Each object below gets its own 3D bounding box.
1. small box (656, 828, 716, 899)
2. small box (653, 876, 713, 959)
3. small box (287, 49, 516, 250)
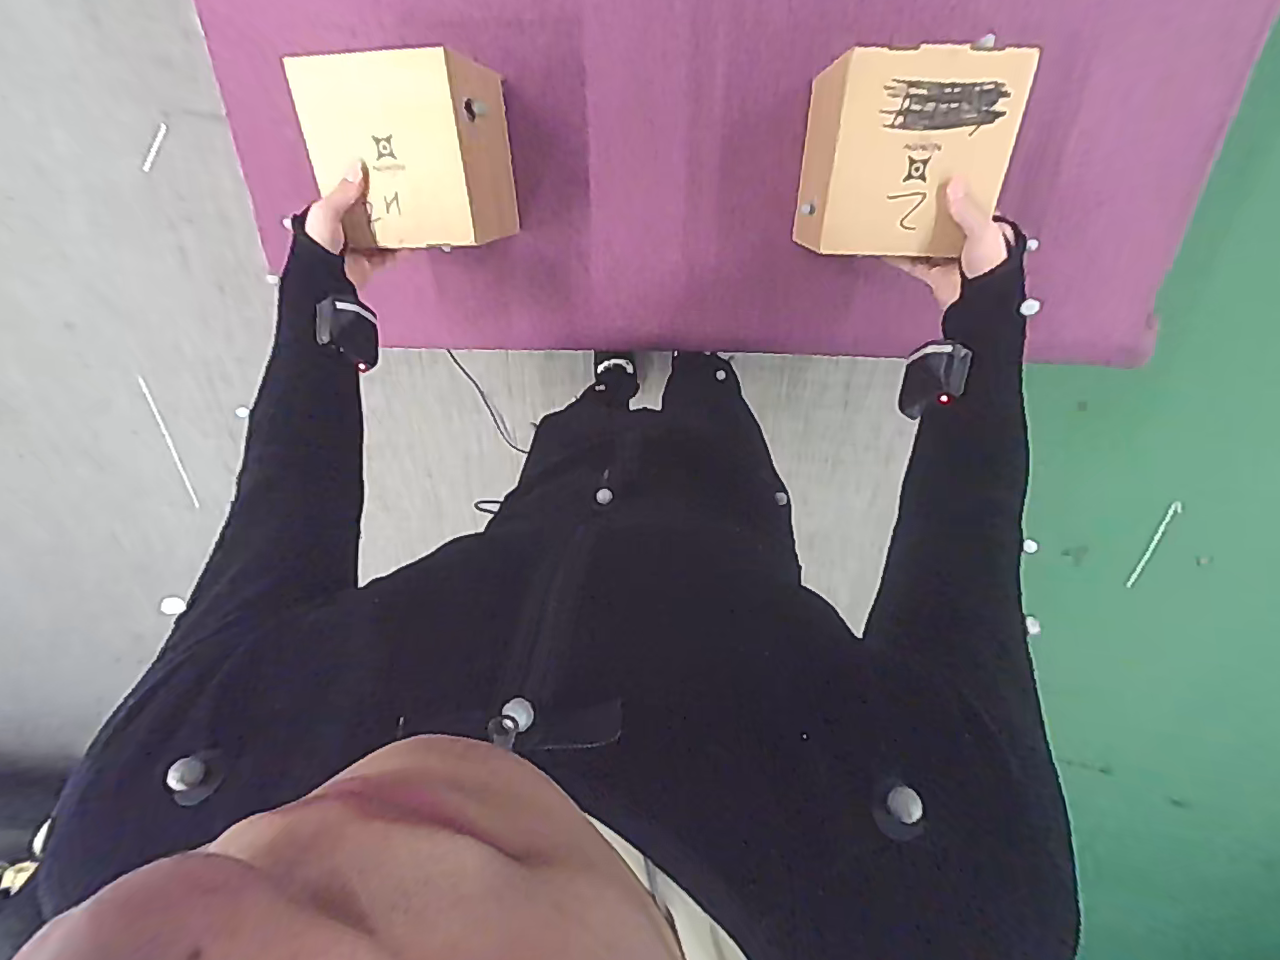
[{"bbox_3d":[0.164,1.377,1.922,0.179,0.176,0.168,13,118,1],"label":"small box"},{"bbox_3d":[0.143,1.454,1.779,0.168,0.176,0.179,11,117,1],"label":"small box"},{"bbox_3d":[-0.256,-0.372,0.631,0.168,0.176,0.179,1,119,7],"label":"small box"}]
